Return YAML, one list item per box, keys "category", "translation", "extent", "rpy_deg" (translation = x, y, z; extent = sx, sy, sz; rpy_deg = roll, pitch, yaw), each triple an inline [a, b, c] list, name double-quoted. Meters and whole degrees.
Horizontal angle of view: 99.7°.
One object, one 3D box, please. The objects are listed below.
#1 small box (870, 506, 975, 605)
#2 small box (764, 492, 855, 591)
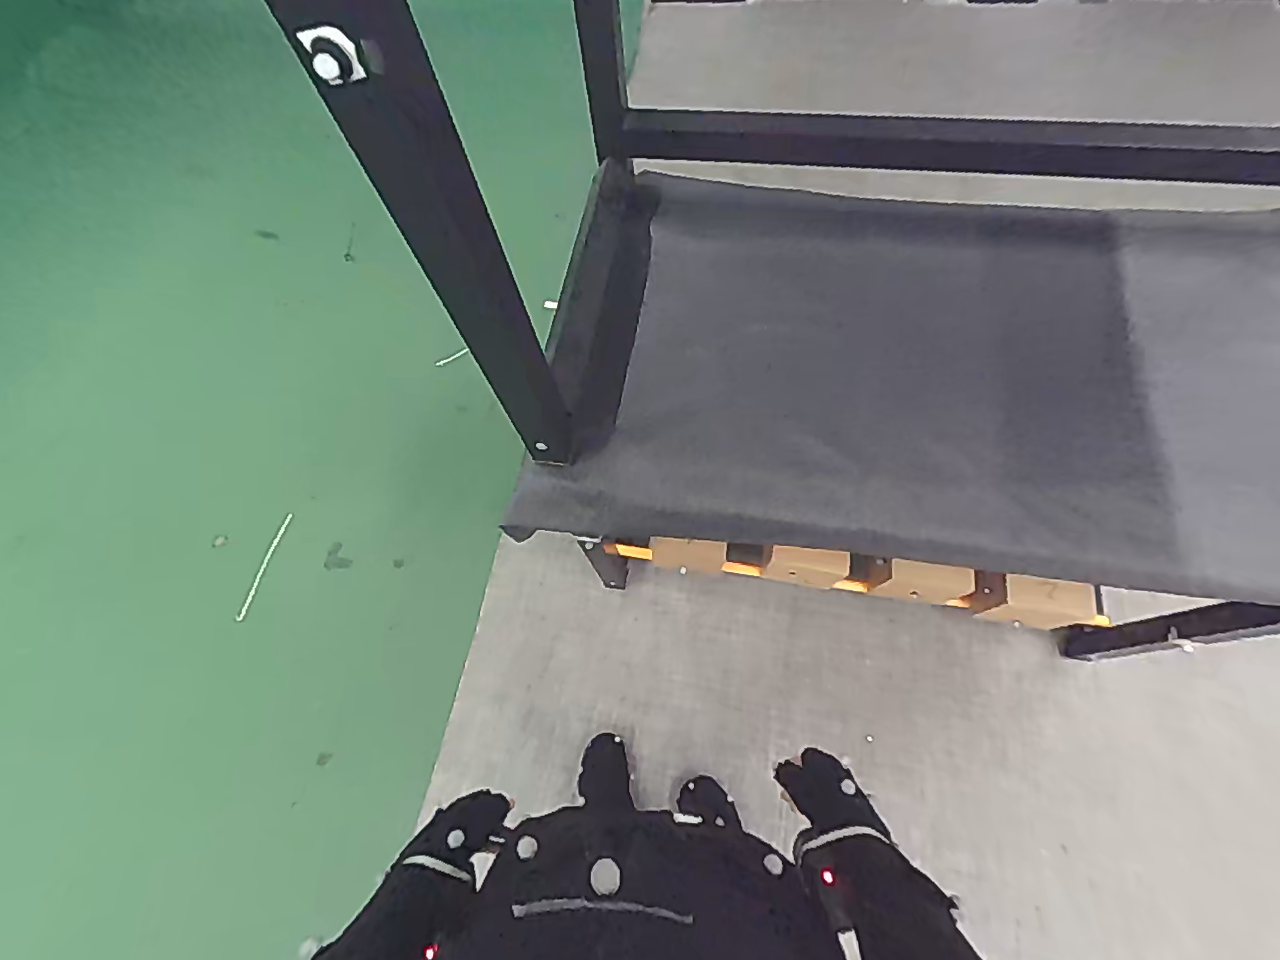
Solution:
- category: "small box"
  translation: [0.628, 0.176, 1.219]
  extent: [0.168, 0.176, 0.179]
  rpy_deg: [7, 67, 9]
- category: "small box"
  translation: [0.387, 0.149, 1.253]
  extent: [0.168, 0.176, 0.179]
  rpy_deg: [9, 68, 8]
